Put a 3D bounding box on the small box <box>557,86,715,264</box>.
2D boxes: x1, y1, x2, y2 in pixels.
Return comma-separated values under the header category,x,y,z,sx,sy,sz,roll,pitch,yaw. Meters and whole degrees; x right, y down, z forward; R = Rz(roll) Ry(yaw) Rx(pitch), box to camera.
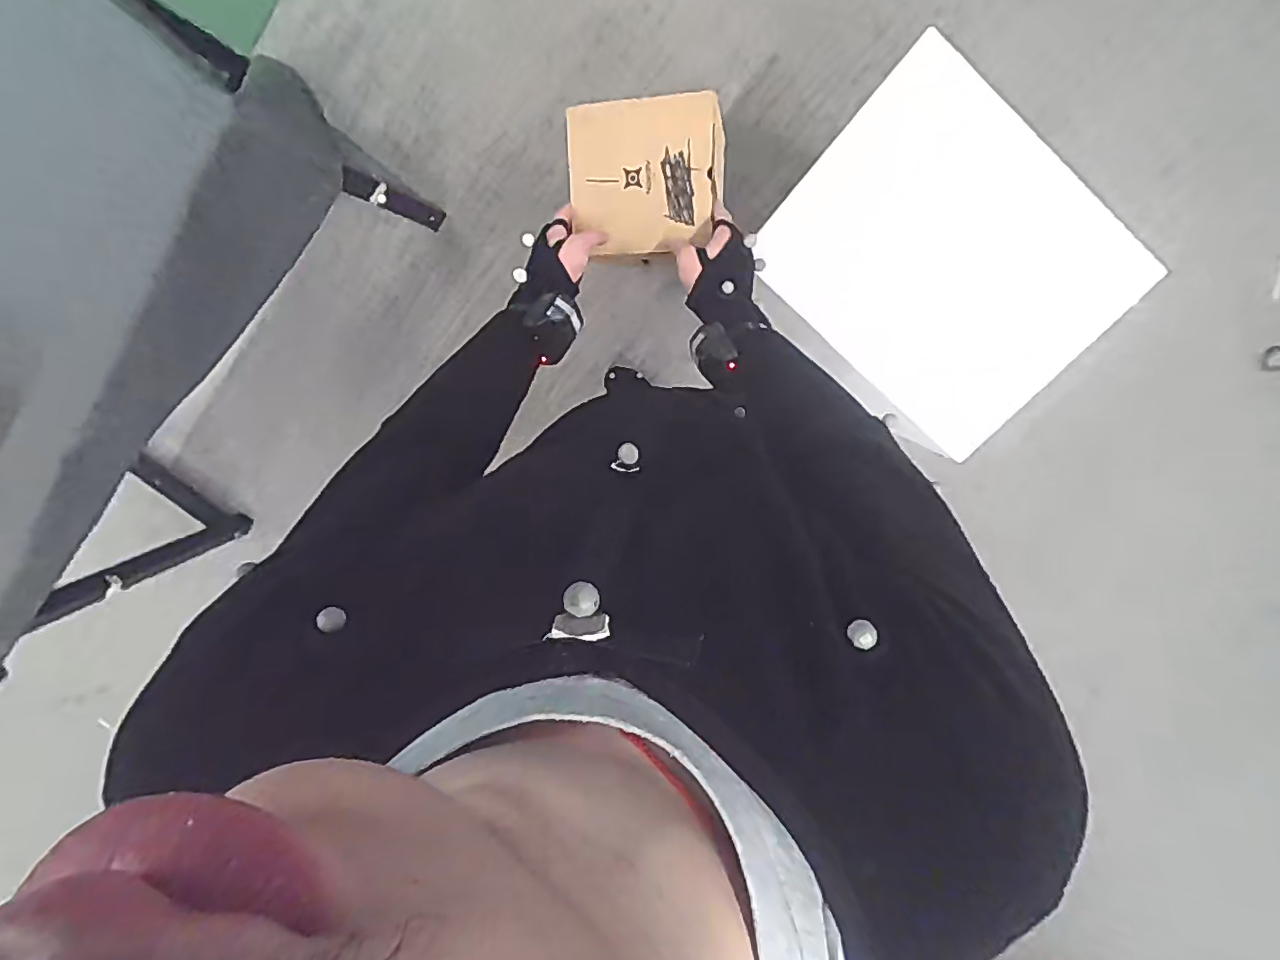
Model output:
category,x,y,z,sx,sy,sz,roll,pitch,yaw
small box,0.006,-0.374,0.694,0.179,0.176,0.168,2,106,11
